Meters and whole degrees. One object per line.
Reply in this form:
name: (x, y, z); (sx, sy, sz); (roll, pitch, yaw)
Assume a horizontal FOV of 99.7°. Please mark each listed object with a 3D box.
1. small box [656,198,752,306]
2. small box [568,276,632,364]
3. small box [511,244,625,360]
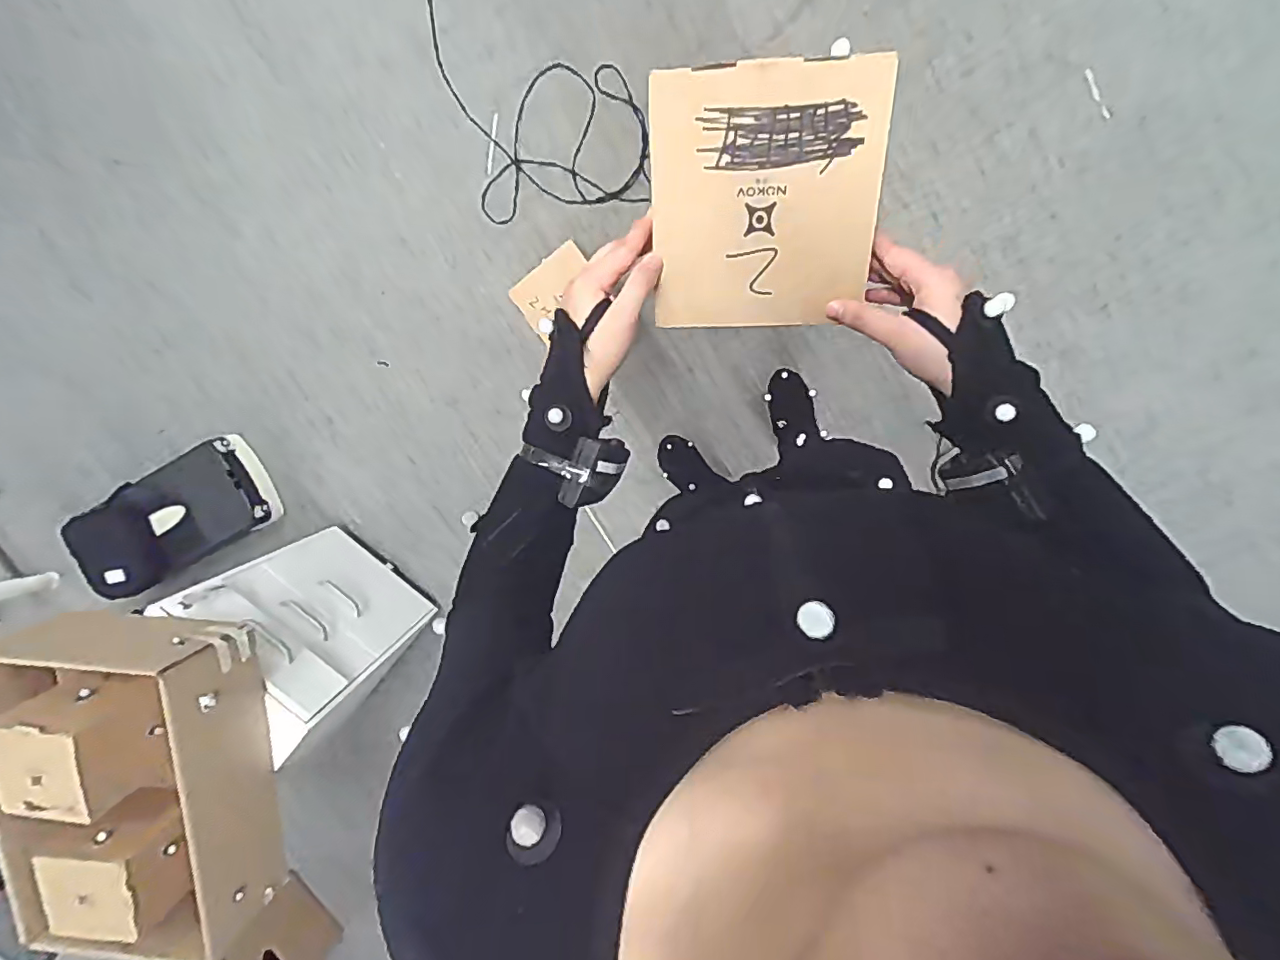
small box: (0.154, -0.531, 1.294); (0.168, 0.176, 0.179); (-25, 97, 11)
small box: (-0.133, -0.408, 1.353); (0.179, 0.176, 0.168); (-34, 97, 12)
small box: (-0.147, -0.382, 1.191); (0.179, 0.176, 0.168); (-35, 96, 13)
